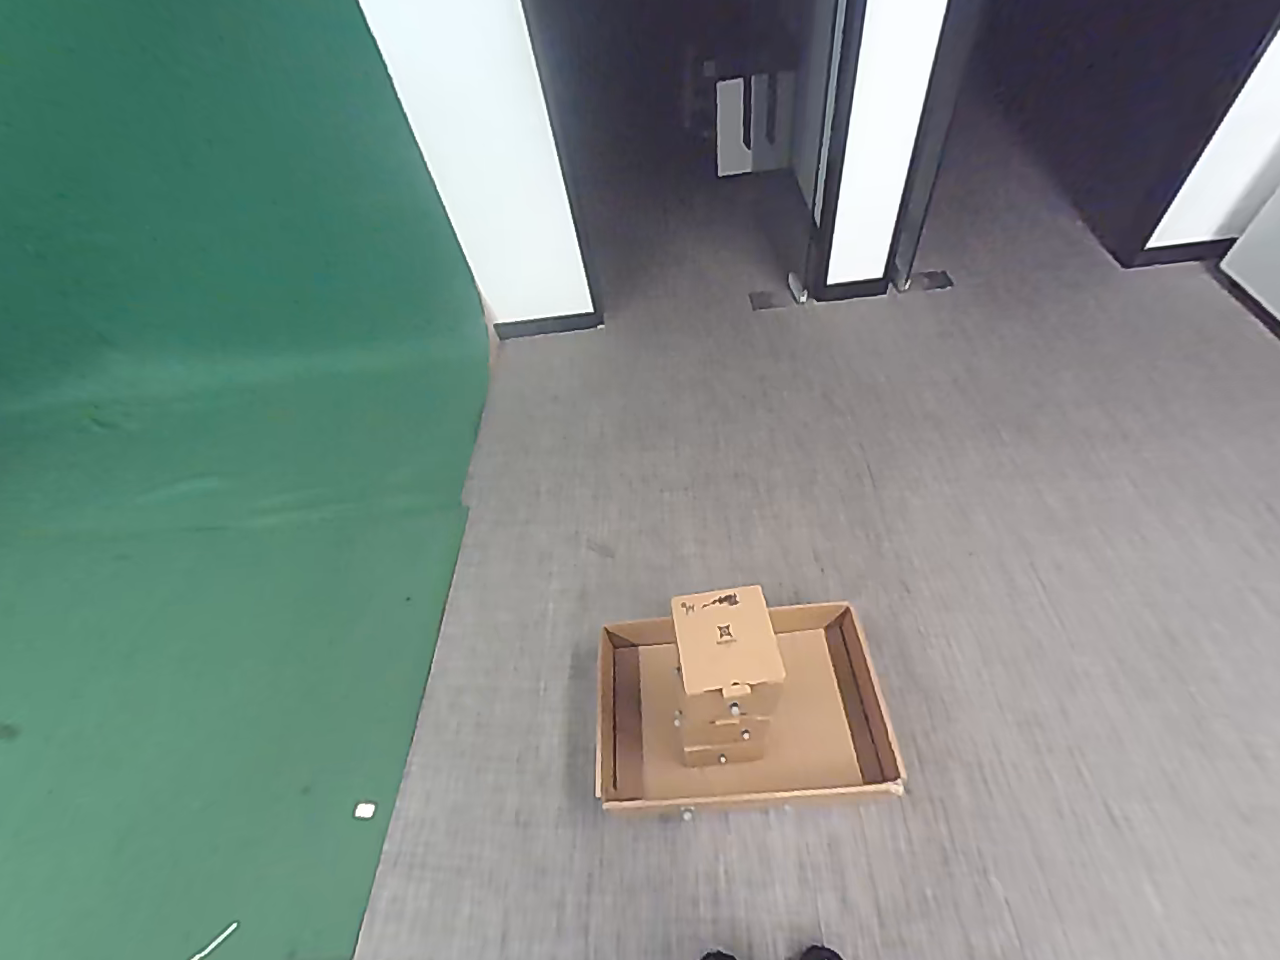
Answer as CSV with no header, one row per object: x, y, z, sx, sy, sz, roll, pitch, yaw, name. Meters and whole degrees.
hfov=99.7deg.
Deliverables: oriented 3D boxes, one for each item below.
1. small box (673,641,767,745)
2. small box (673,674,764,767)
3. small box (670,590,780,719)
0.158,0.429,1.102,0.168,0.176,0.179,-5,49,3,small box
0.174,0.537,1.220,0.179,0.176,0.168,-7,50,4,small box
0.148,0.321,0.979,0.168,0.176,0.179,-7,51,2,small box
